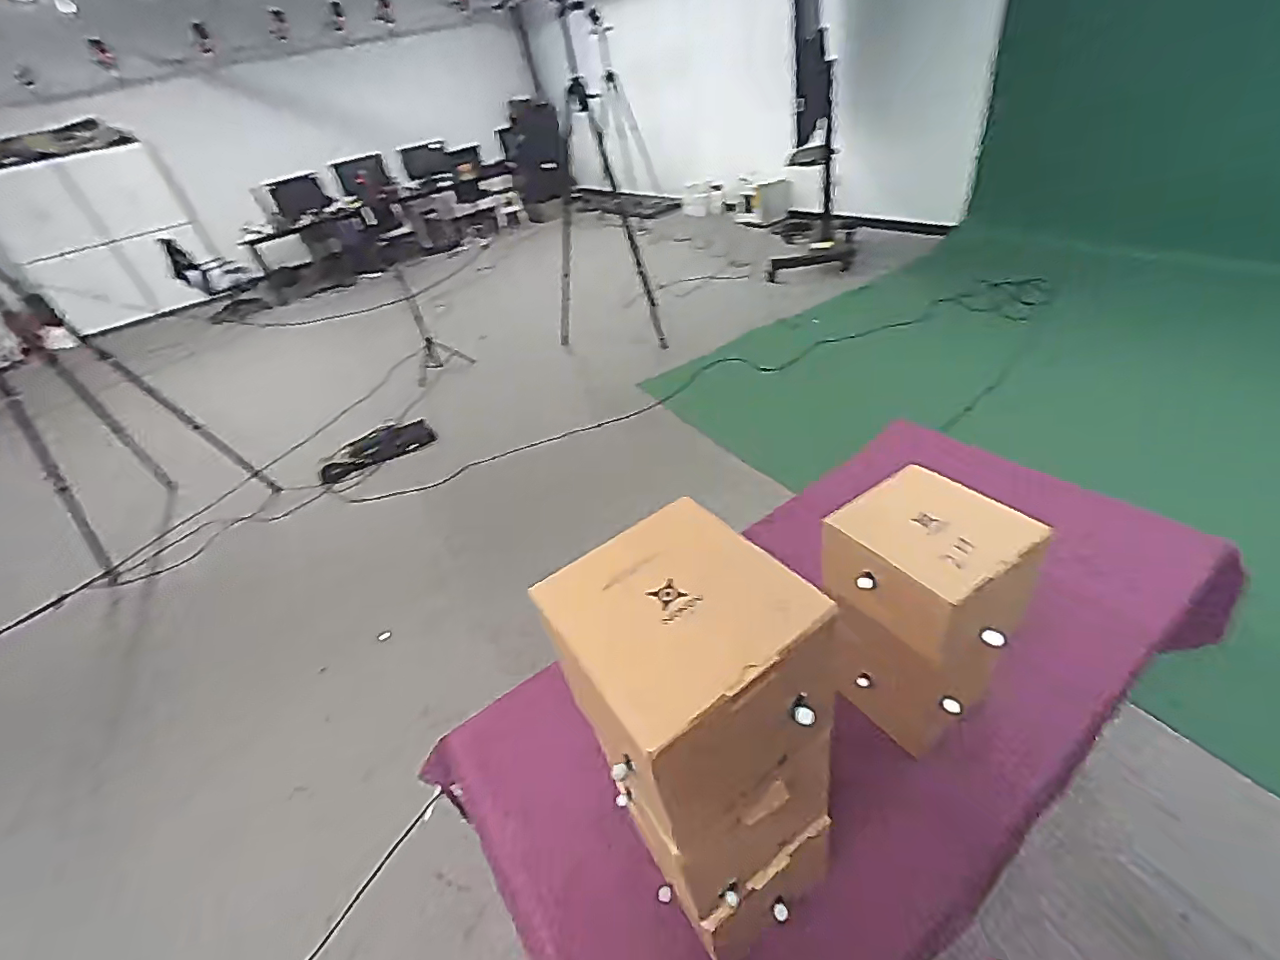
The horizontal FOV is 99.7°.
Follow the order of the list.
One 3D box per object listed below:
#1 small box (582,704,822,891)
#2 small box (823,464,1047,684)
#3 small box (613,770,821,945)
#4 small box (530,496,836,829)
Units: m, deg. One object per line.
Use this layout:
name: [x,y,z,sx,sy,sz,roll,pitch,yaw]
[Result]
small box: [0.063,0.275,0.552,0.168,0.176,0.179,-28,39,-19]
small box: [0.347,0.113,0.676,0.168,0.176,0.179,-27,40,-17]
small box: [0.092,0.407,0.647,0.168,0.176,0.179,-28,41,-20]
small box: [0.037,0.150,0.450,0.168,0.176,0.179,-28,40,-21]
